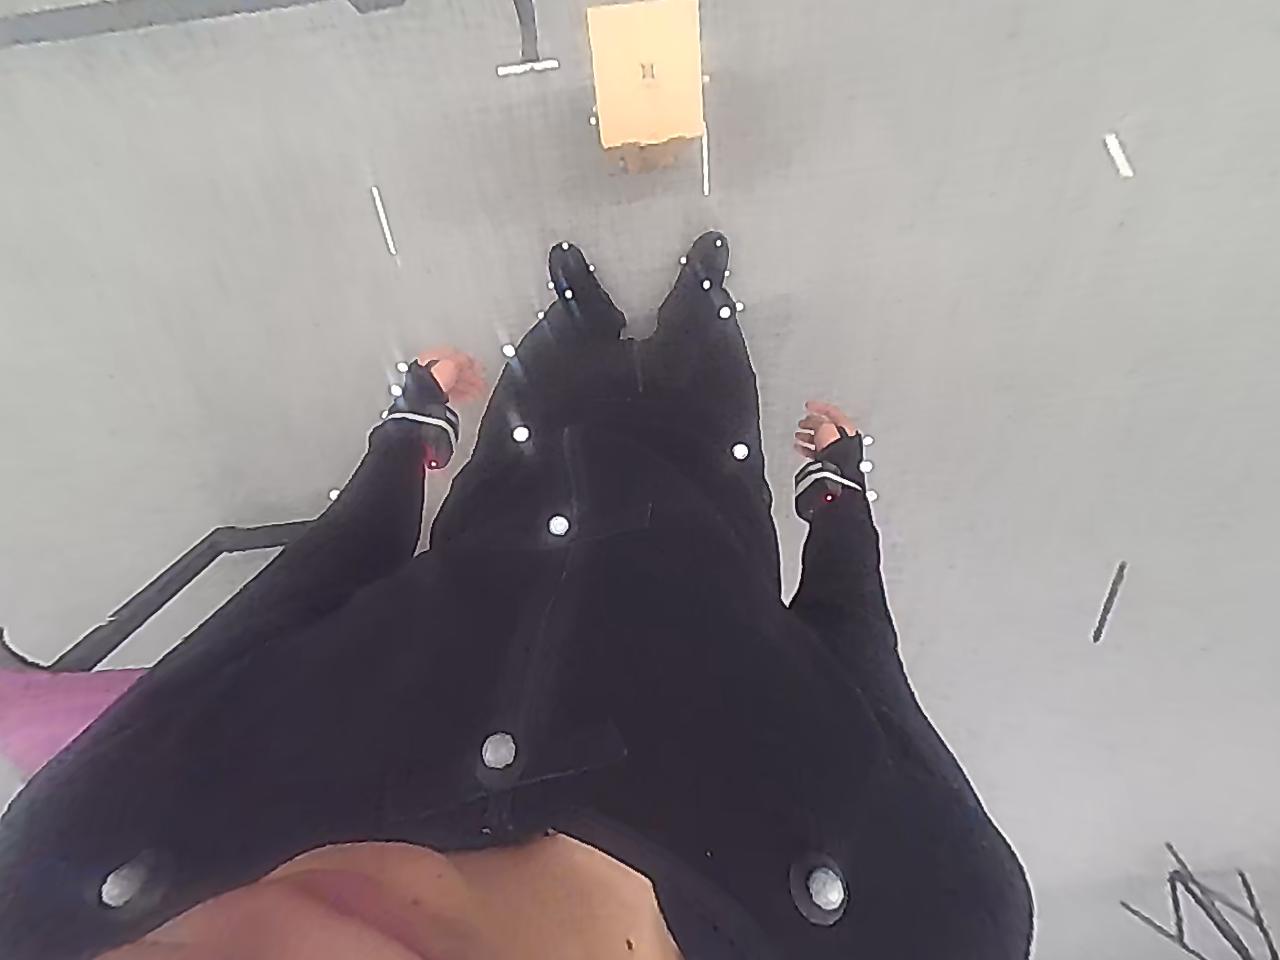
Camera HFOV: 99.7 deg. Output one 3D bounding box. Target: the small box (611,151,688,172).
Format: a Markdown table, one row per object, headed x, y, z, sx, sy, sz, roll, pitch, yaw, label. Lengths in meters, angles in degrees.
| x | y | z | sx | sy | sz | roll | pitch | yaw | label |
| --- | --- | --- | --- | --- | --- | --- | --- | --- | --- |
| 0.007 | -0.792 | 1.189 | 0.168 | 0.176 | 0.179 | -9 | 119 | 3 | small box |

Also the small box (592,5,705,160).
| x | y | z | sx | sy | sz | roll | pitch | yaw | label |
| --- | --- | --- | --- | --- | --- | --- | --- | --- | --- |
| 0.011 | -0.644 | 0.897 | 0.168 | 0.176 | 0.179 | -6 | 118 | 1 | small box |
